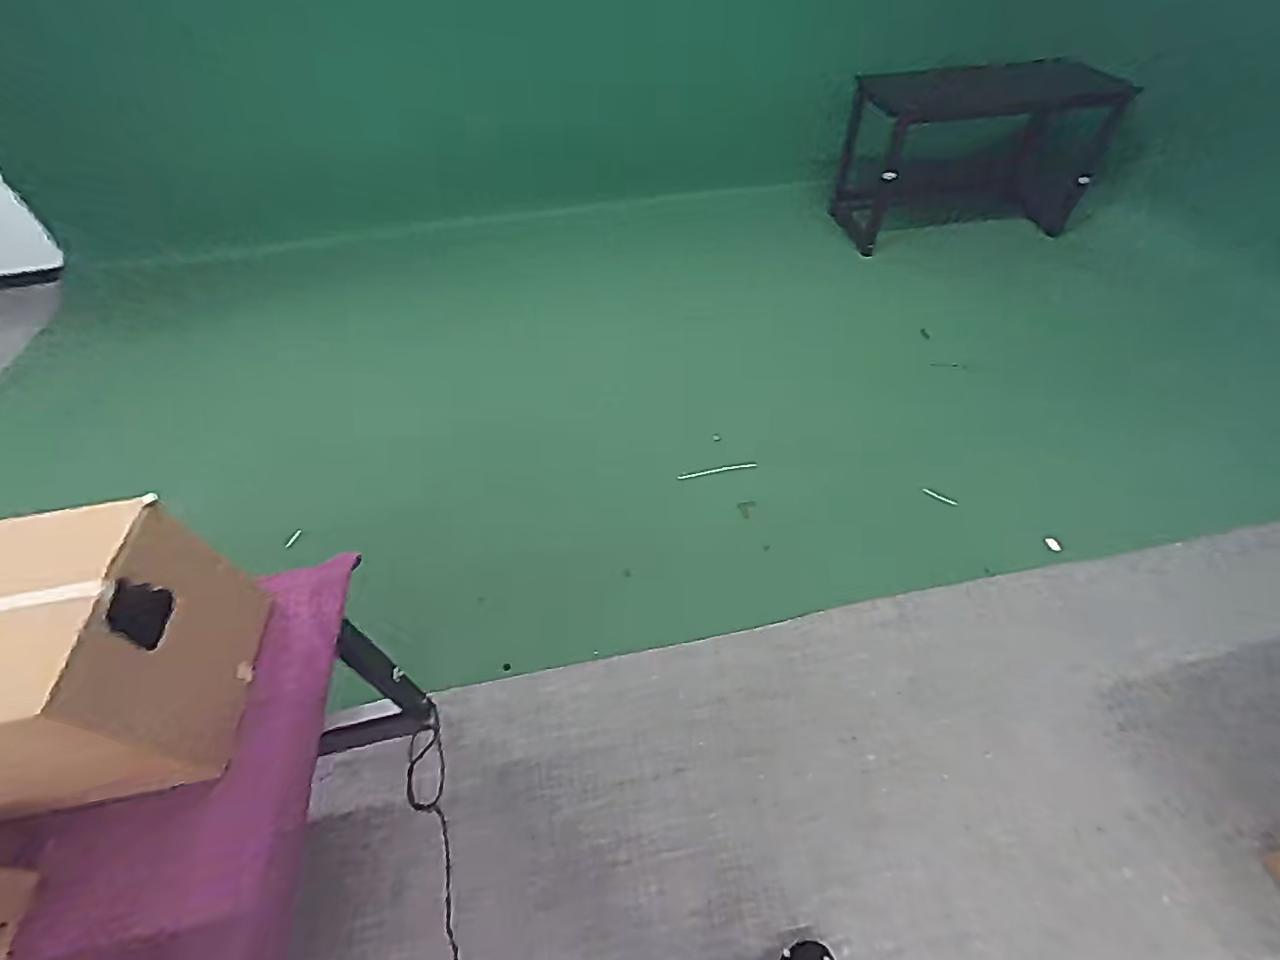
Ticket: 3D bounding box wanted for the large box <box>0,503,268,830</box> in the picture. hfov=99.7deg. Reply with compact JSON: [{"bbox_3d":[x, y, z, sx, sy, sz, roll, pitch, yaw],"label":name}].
[{"bbox_3d":[-0.853,0.277,0.771,0.408,0.320,0.320,-10,51,-6],"label":"large box"}]
